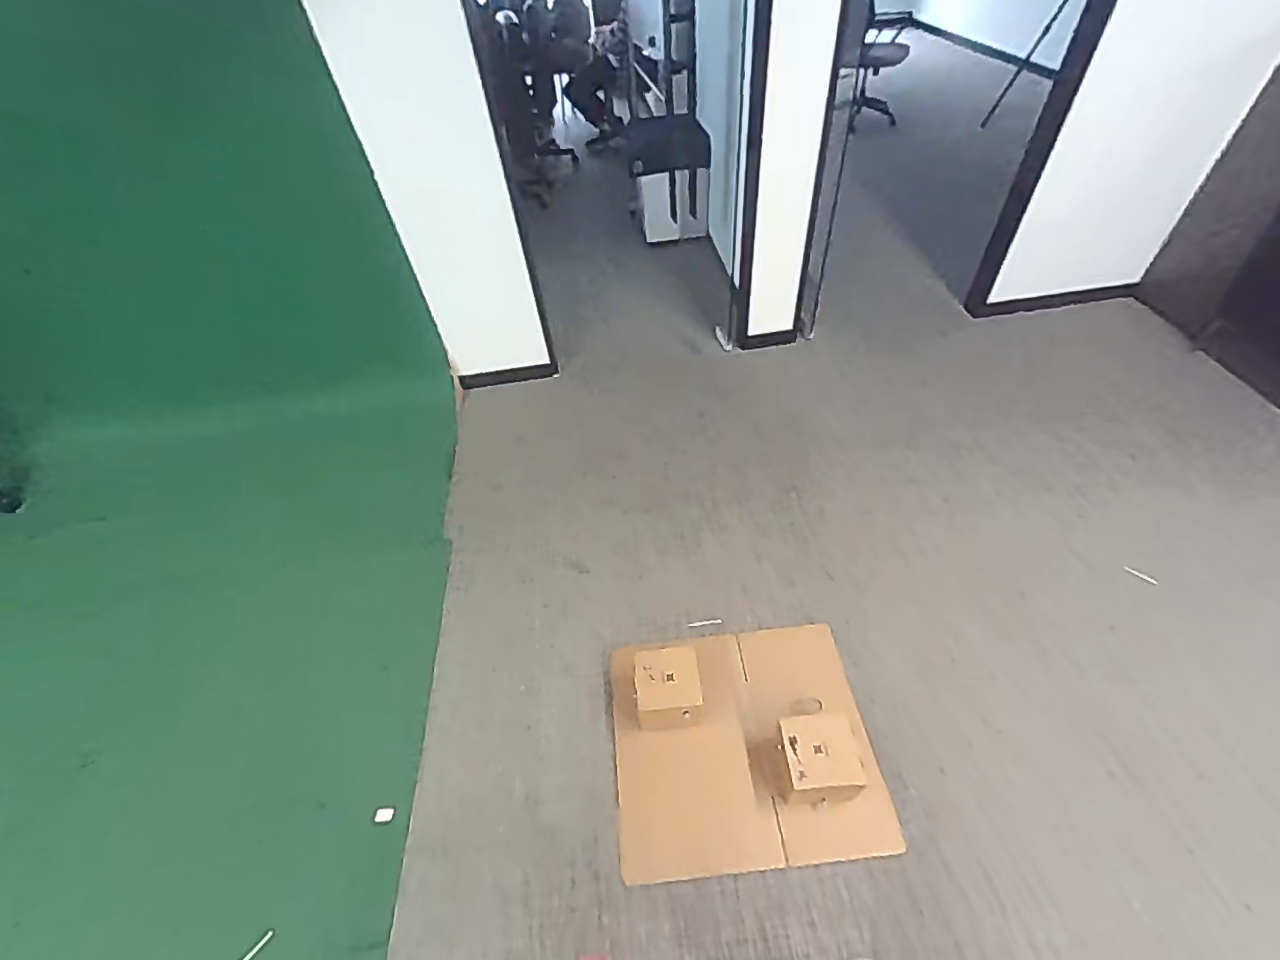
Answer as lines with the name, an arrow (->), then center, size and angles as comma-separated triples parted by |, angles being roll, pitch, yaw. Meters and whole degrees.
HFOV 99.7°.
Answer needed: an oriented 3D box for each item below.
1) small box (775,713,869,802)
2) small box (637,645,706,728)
small box -> 0.453, 0.708, 1.377 | 0.179, 0.176, 0.168 | -5, 48, 2
small box -> 0.087, 0.583, 1.521 | 0.179, 0.176, 0.168 | -6, 48, 1
